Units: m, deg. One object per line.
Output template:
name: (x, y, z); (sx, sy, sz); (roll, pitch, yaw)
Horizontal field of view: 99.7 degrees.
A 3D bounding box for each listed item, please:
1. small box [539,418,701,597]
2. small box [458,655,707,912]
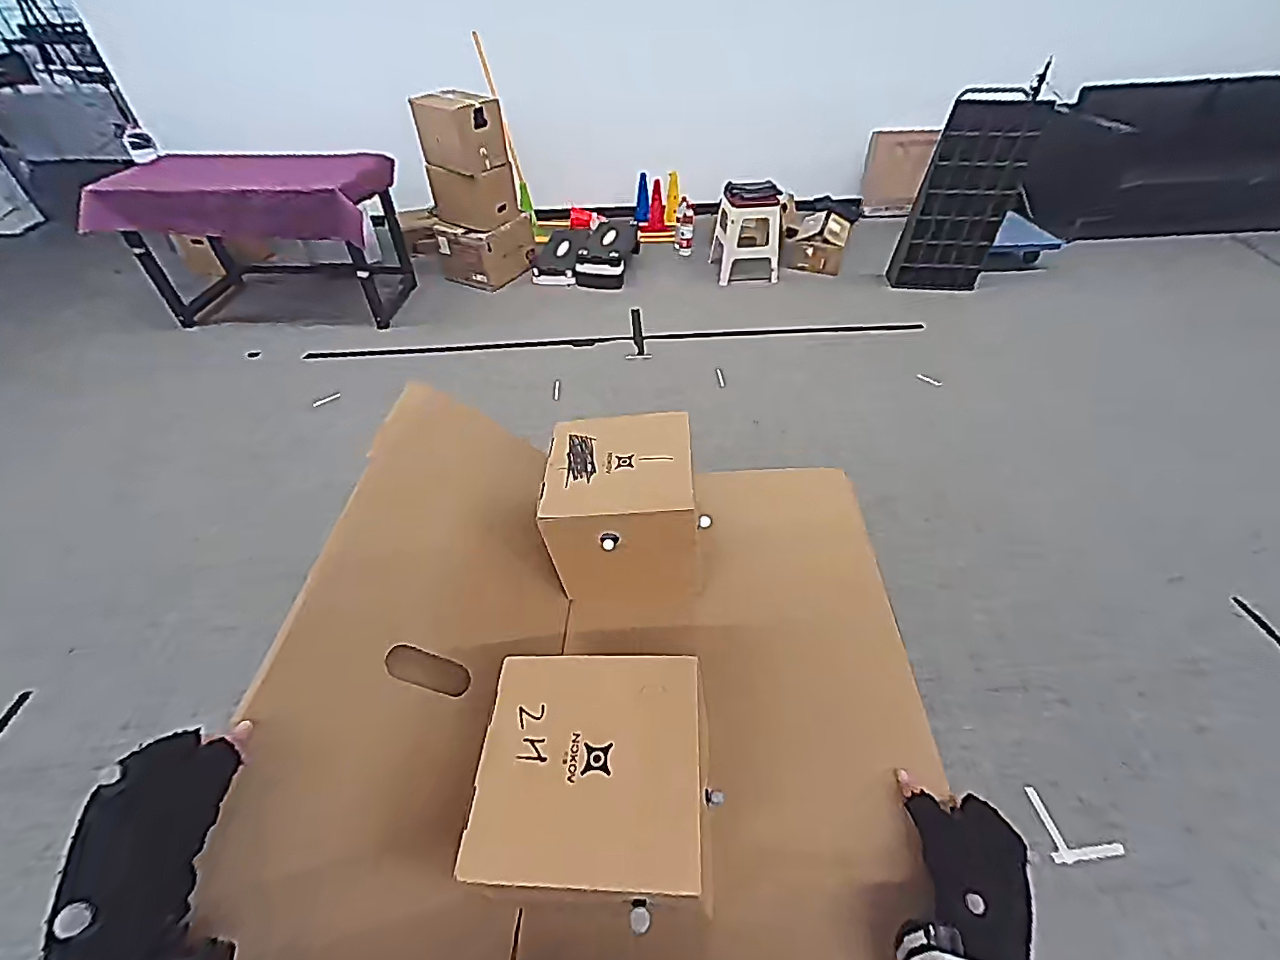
small box: (-0.015, 0.040, 0.706); (0.179, 0.176, 0.168); (-3, 46, 6)
small box: (-0.030, 0.273, 0.487); (0.179, 0.176, 0.168); (-2, 46, 9)
